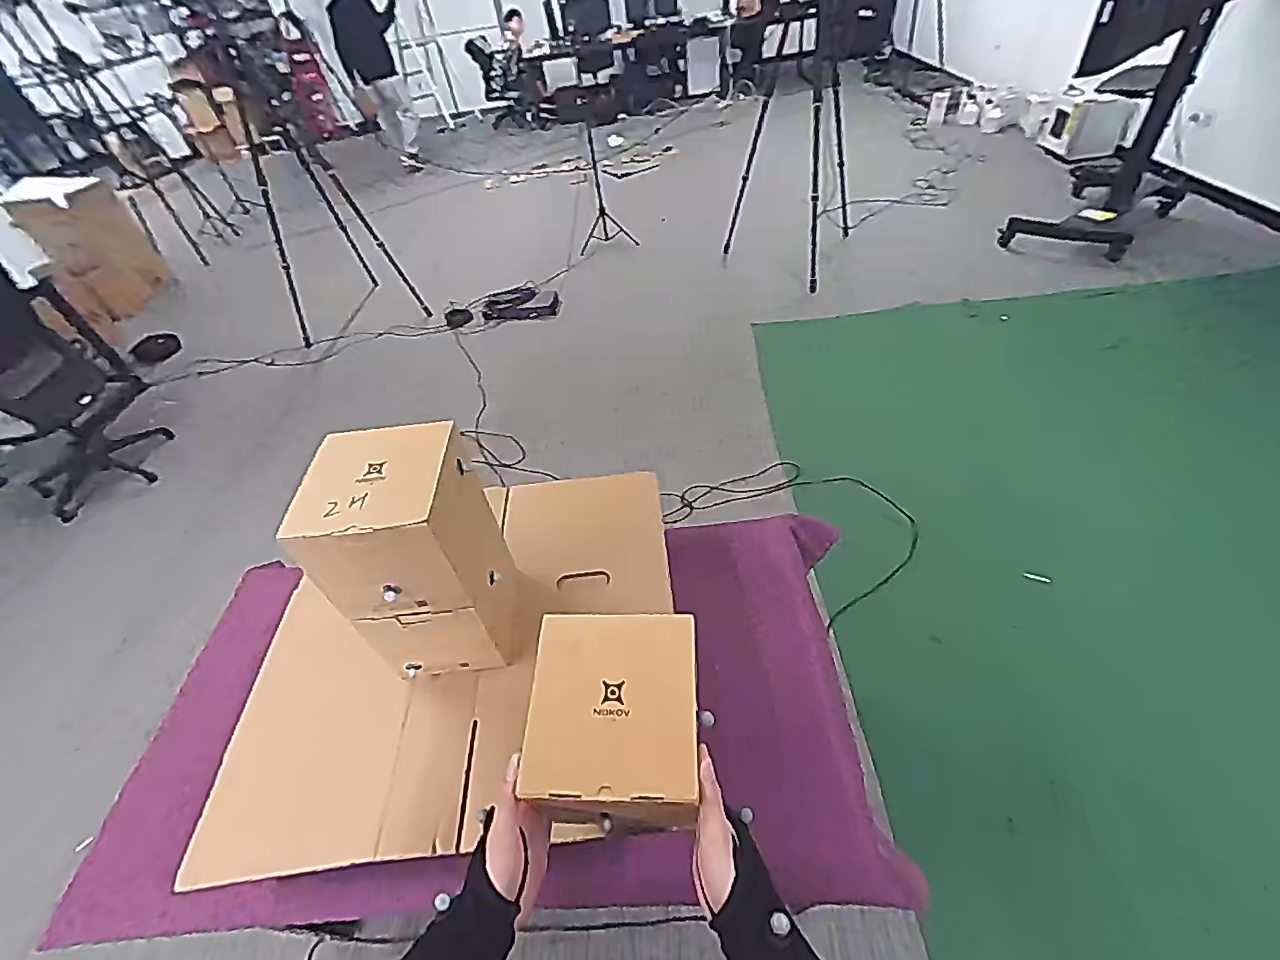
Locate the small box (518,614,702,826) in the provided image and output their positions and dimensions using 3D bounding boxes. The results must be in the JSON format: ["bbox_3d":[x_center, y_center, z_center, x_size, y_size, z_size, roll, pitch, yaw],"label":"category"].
[{"bbox_3d":[-0.019,0.261,0.586,0.168,0.176,0.179,-1,53,5],"label":"small box"}]

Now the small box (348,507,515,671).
[{"bbox_3d":[-0.289,0.166,0.797,0.168,0.176,0.179,-6,45,0],"label":"small box"}]

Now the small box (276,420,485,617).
[{"bbox_3d":[-0.304,0.049,0.682,0.168,0.176,0.179,-7,46,0],"label":"small box"}]
